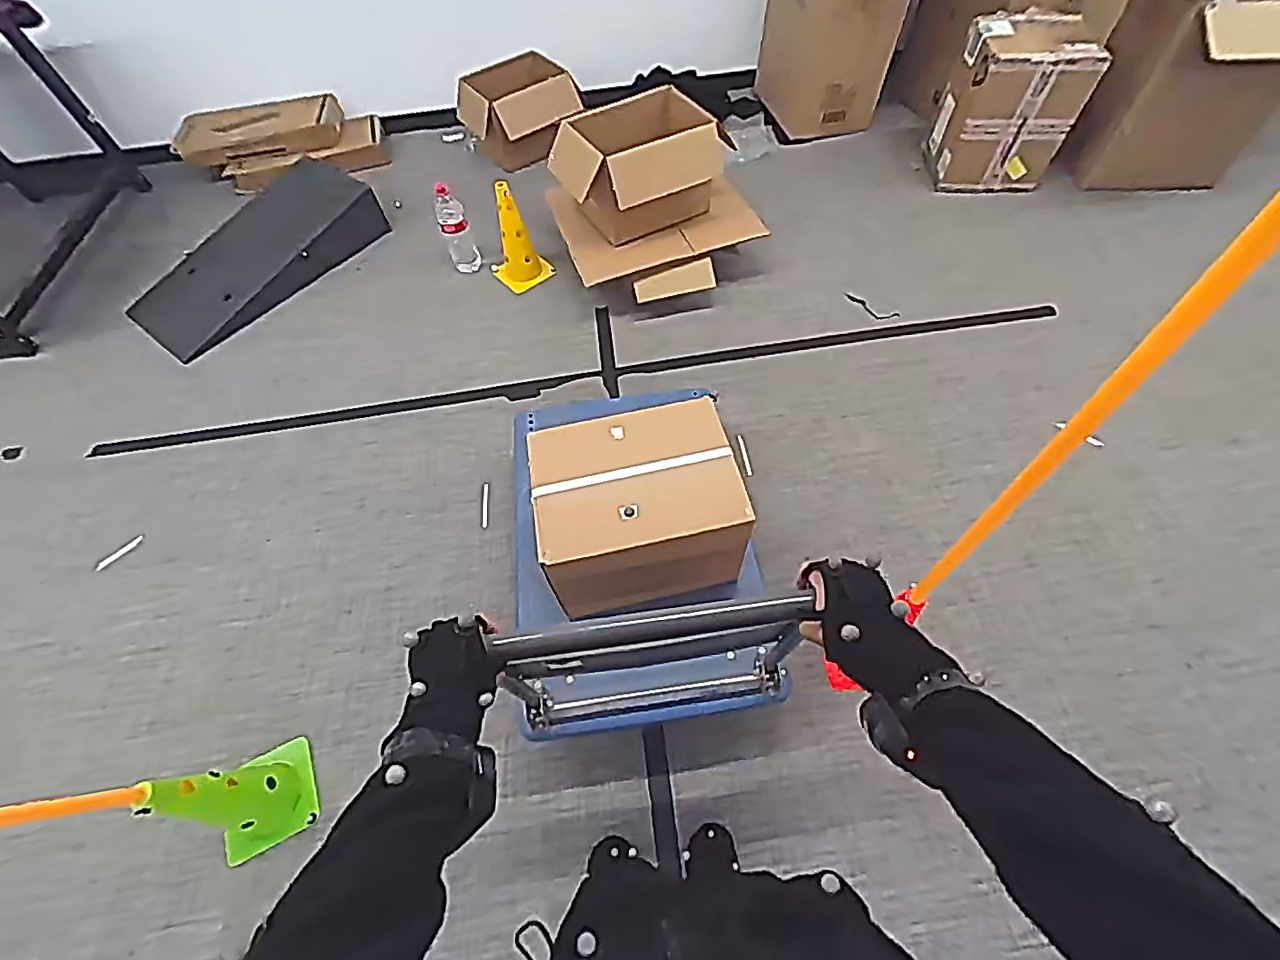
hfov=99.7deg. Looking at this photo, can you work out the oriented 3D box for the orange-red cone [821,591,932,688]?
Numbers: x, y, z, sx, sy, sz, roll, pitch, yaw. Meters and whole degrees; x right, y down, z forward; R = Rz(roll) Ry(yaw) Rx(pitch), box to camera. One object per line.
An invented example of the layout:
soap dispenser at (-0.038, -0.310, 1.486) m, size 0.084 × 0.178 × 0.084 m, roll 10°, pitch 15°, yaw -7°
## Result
orange-red cone at (0.549, 0.319, 1.182) m, size 0.199 × 0.360 × 0.198 m, roll -2°, pitch 59°, yaw 1°
